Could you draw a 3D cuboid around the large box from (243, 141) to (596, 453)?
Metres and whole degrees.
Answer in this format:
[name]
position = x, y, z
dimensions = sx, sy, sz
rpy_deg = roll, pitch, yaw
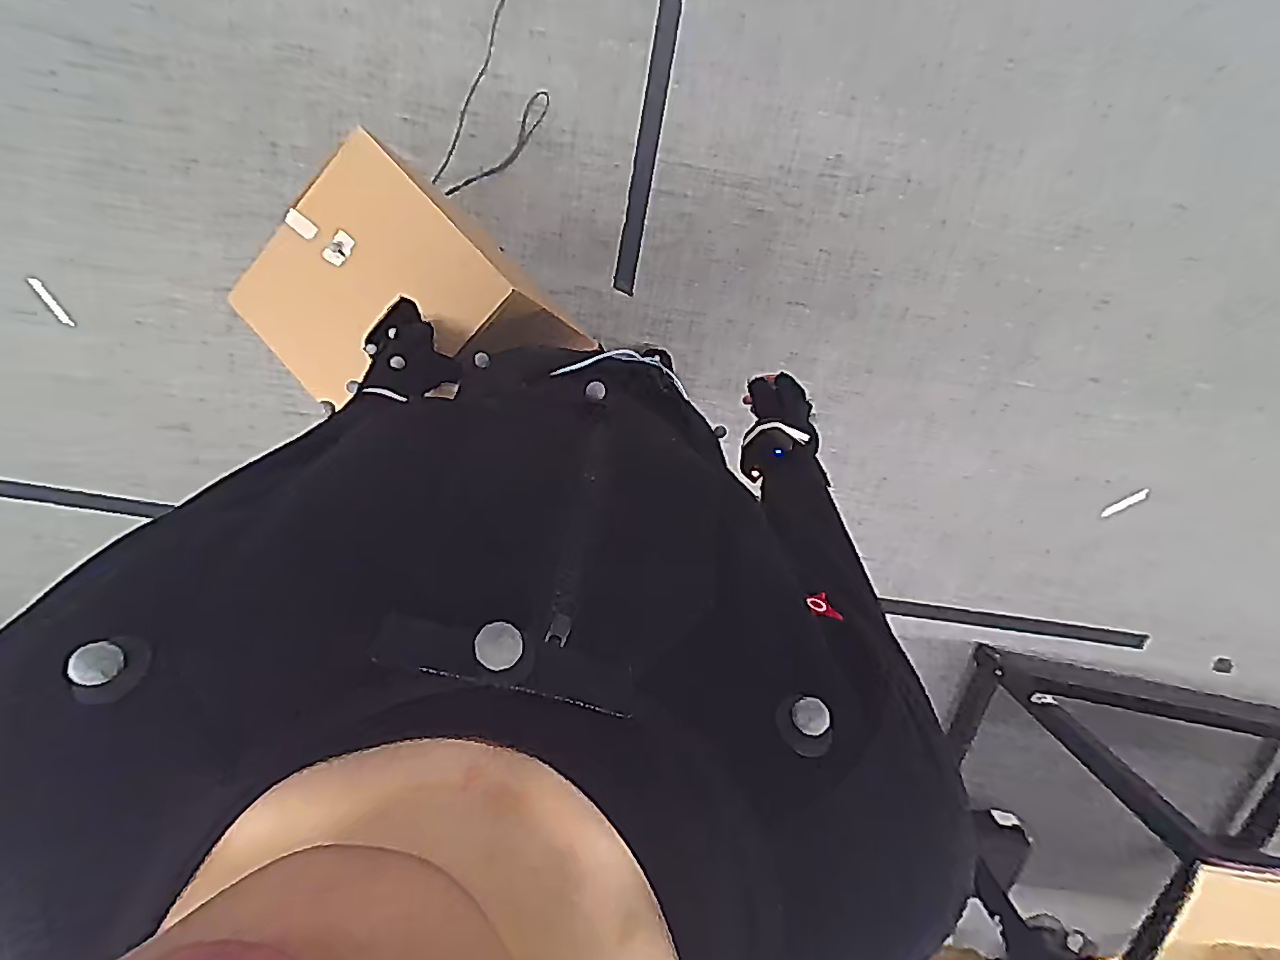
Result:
[large box]
position = -0.335, -0.266, 0.927
dimensions = 0.320, 0.408, 0.320
rpy_deg = -43, 86, 11
